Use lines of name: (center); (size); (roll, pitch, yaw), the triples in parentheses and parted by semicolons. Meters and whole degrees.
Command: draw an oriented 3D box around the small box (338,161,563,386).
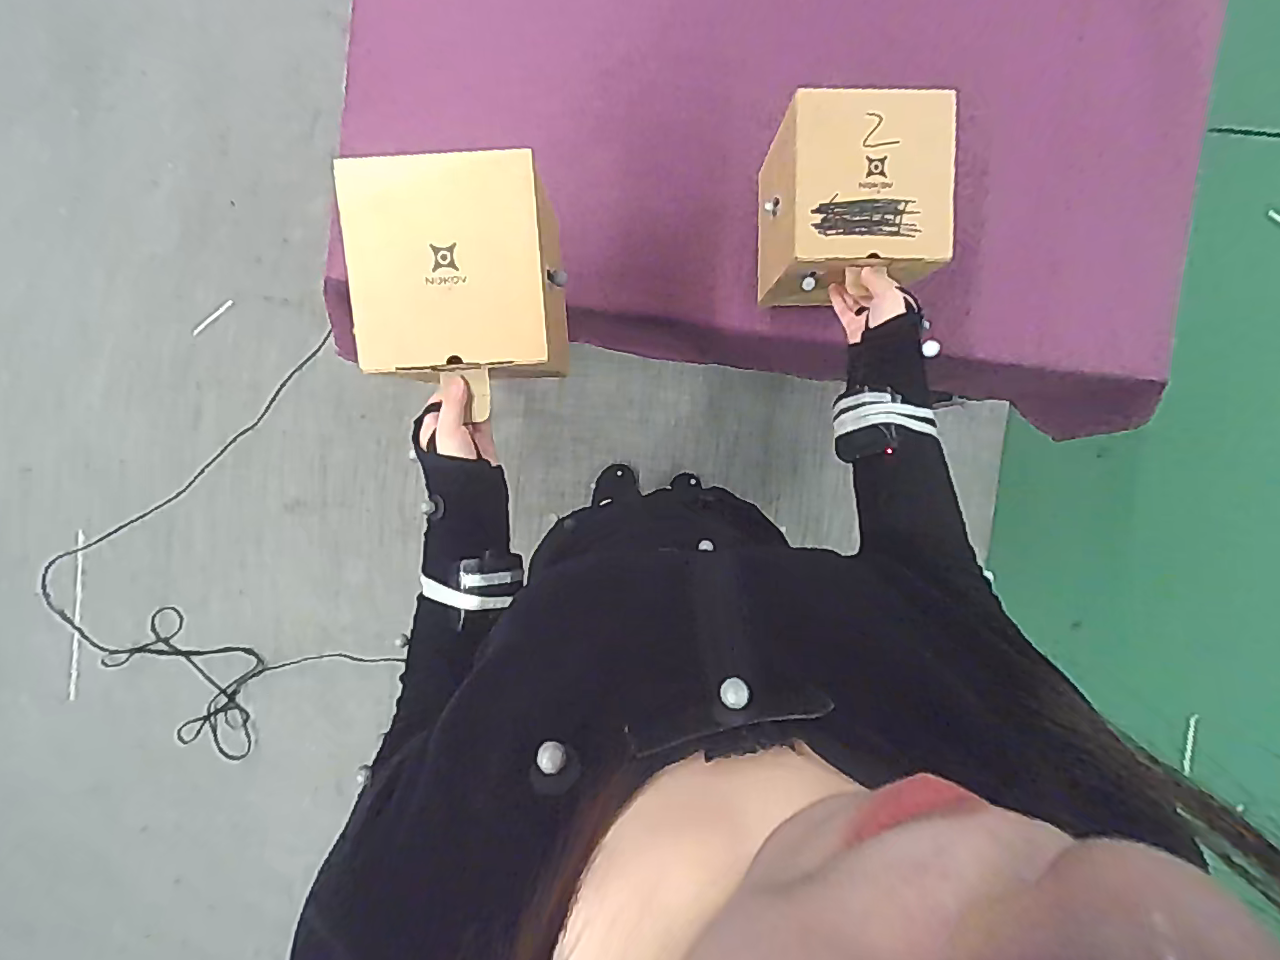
small box: (-0.172, -0.191, 0.545); (0.168, 0.176, 0.179); (-3, 98, -1)
